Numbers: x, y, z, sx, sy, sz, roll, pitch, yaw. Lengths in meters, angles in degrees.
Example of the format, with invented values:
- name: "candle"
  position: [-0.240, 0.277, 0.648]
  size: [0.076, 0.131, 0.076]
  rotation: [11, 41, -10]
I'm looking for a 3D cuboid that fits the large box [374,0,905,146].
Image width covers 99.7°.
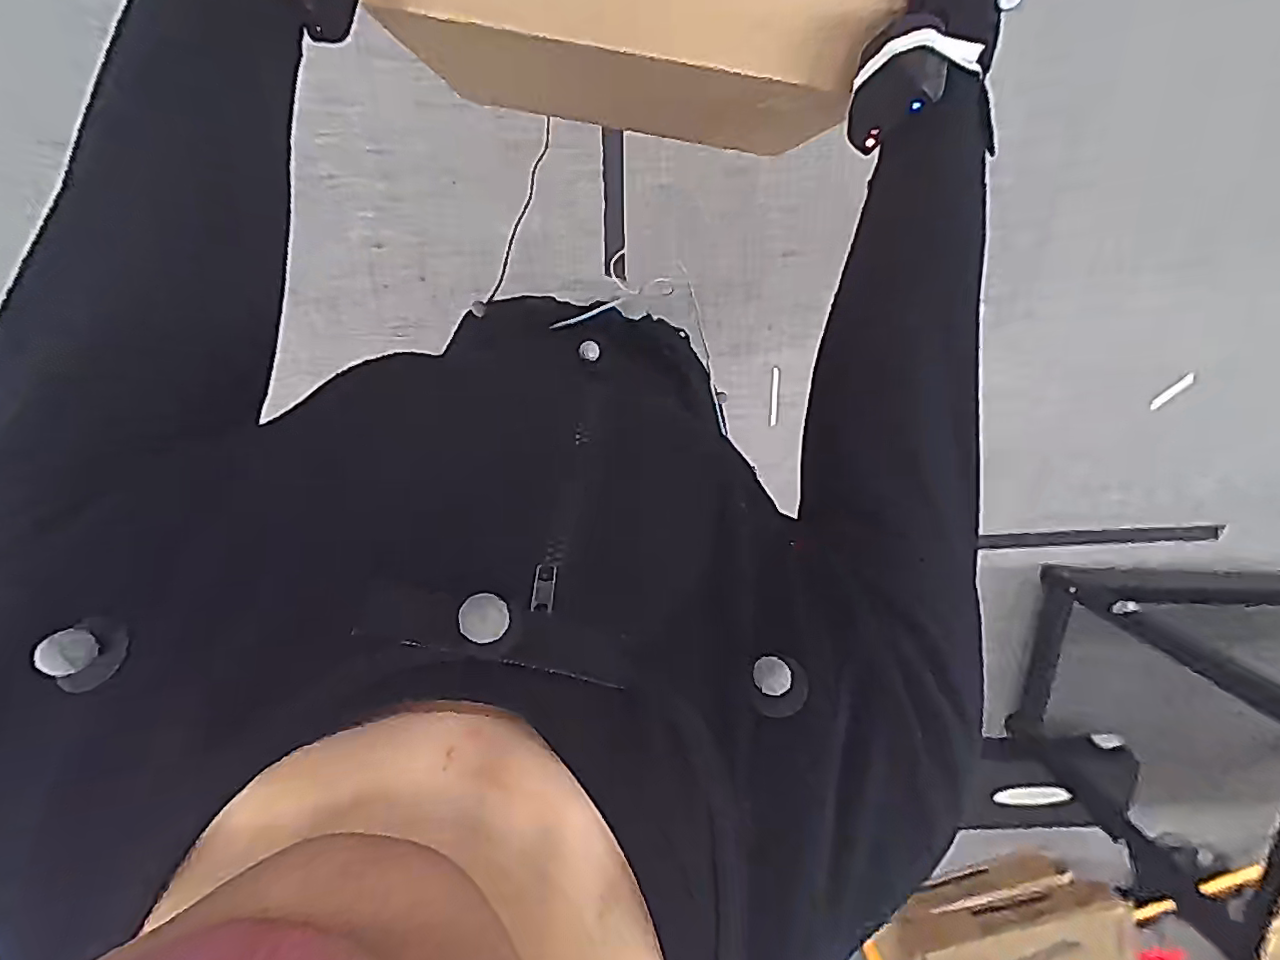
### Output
- name: "large box"
  position: [0.008, -0.527, 0.485]
  size: [0.408, 0.320, 0.320]
  rotation: [6, 114, -5]
